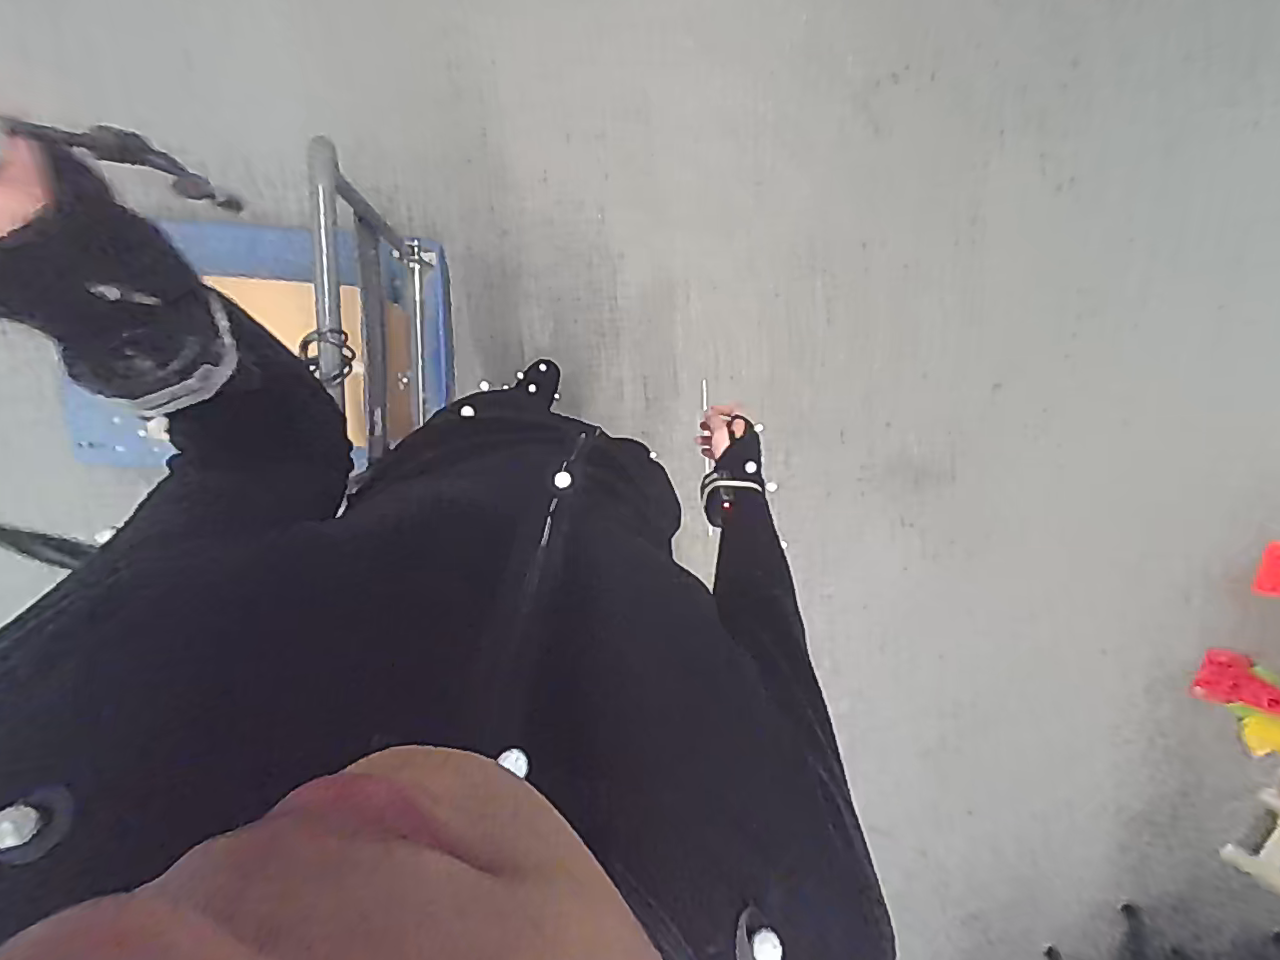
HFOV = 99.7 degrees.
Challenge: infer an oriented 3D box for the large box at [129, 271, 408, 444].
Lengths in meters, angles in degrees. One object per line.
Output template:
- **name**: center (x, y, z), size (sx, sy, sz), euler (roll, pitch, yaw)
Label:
- **large box**: center (-0.762, -0.257, 1.182), size (0.408, 0.320, 0.320), euler (2, 100, -7)
